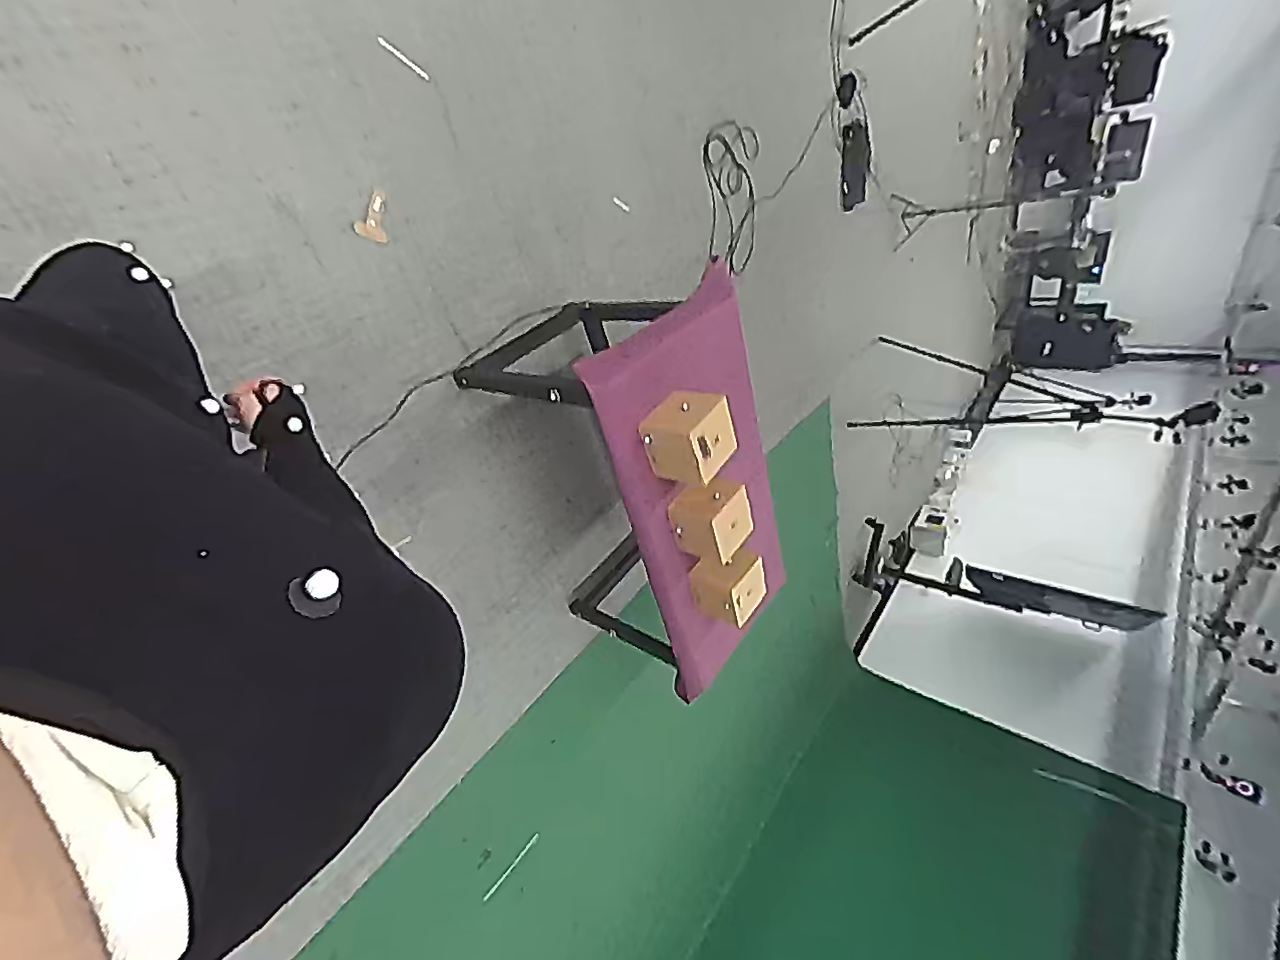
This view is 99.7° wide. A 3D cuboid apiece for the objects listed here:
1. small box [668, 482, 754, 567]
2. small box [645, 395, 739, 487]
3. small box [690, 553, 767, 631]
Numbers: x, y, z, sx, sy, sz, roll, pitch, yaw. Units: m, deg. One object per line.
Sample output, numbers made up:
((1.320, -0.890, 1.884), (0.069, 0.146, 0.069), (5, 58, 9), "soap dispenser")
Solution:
((0.207, 0.118, 1.572), (0.179, 0.176, 0.168), (-41, 128, -32), "small box")
((0.130, -0.107, 1.412), (0.179, 0.176, 0.168), (-46, 132, -32), "small box")
((0.282, 0.340, 1.720), (0.179, 0.176, 0.168), (-40, 128, -34), "small box")
